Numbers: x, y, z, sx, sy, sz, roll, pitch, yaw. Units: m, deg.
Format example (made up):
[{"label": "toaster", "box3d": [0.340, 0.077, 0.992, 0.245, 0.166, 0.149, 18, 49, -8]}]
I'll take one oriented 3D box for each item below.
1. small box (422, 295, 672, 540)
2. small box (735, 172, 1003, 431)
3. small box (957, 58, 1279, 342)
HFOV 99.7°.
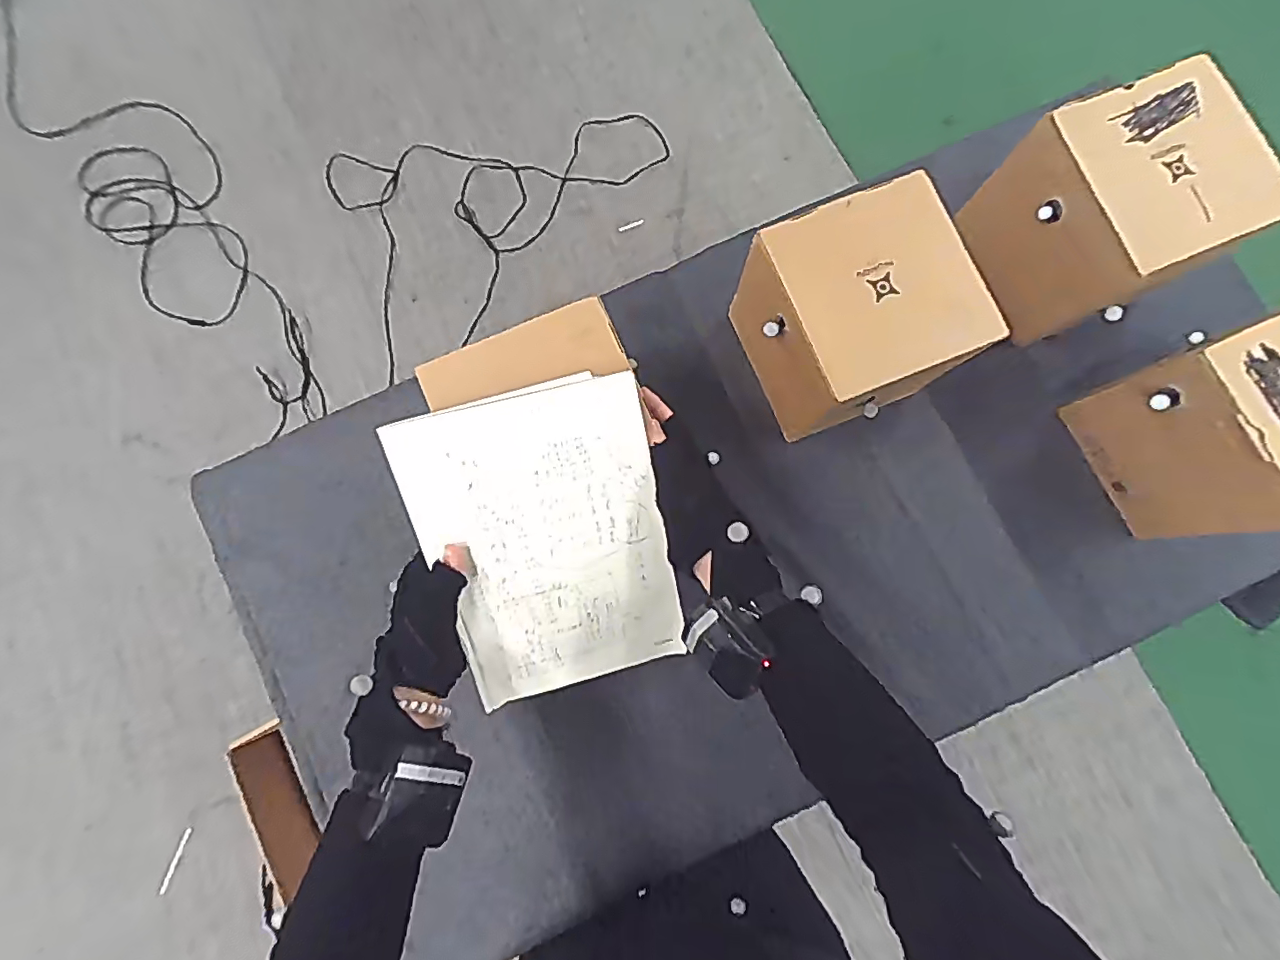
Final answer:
[{"label": "small box", "box3d": [-0.082, -0.048, 0.541, 0.179, 0.176, 0.168, -22, 80, -3]}, {"label": "small box", "box3d": [0.213, -0.163, 0.558, 0.168, 0.176, 0.179, -22, 81, -2]}, {"label": "small box", "box3d": [0.480, -0.276, 0.569, 0.168, 0.176, 0.179, -22, 82, -2]}]
